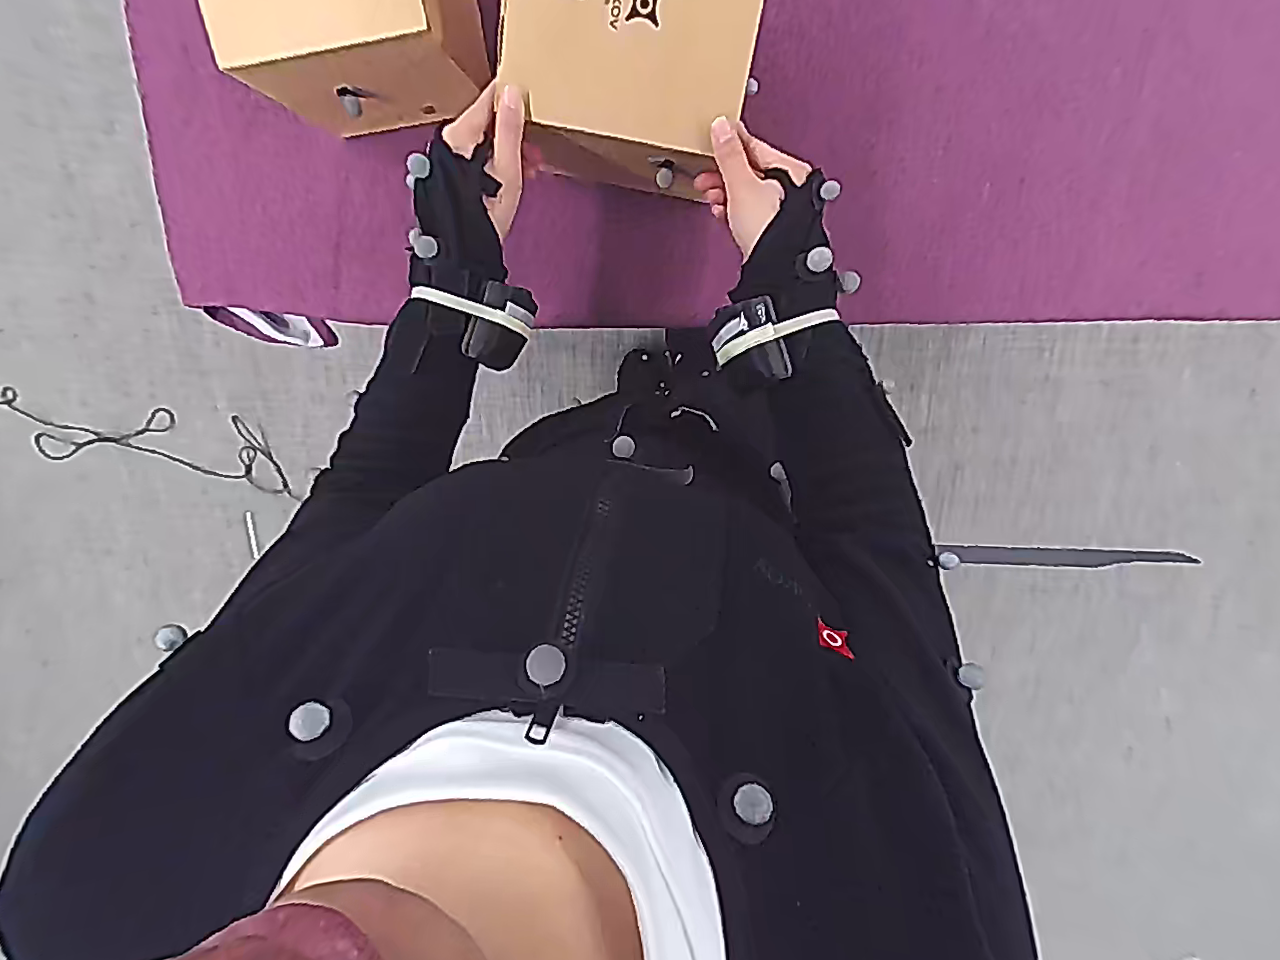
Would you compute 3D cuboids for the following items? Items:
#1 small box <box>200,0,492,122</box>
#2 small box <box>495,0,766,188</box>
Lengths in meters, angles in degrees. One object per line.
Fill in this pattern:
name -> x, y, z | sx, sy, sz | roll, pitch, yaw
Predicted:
small box -> -0.238, -0.424, 0.447 | 0.168, 0.176, 0.179 | -7, 106, 5
small box -> -0.001, -0.351, 0.435 | 0.179, 0.176, 0.168 | 10, 107, -1
